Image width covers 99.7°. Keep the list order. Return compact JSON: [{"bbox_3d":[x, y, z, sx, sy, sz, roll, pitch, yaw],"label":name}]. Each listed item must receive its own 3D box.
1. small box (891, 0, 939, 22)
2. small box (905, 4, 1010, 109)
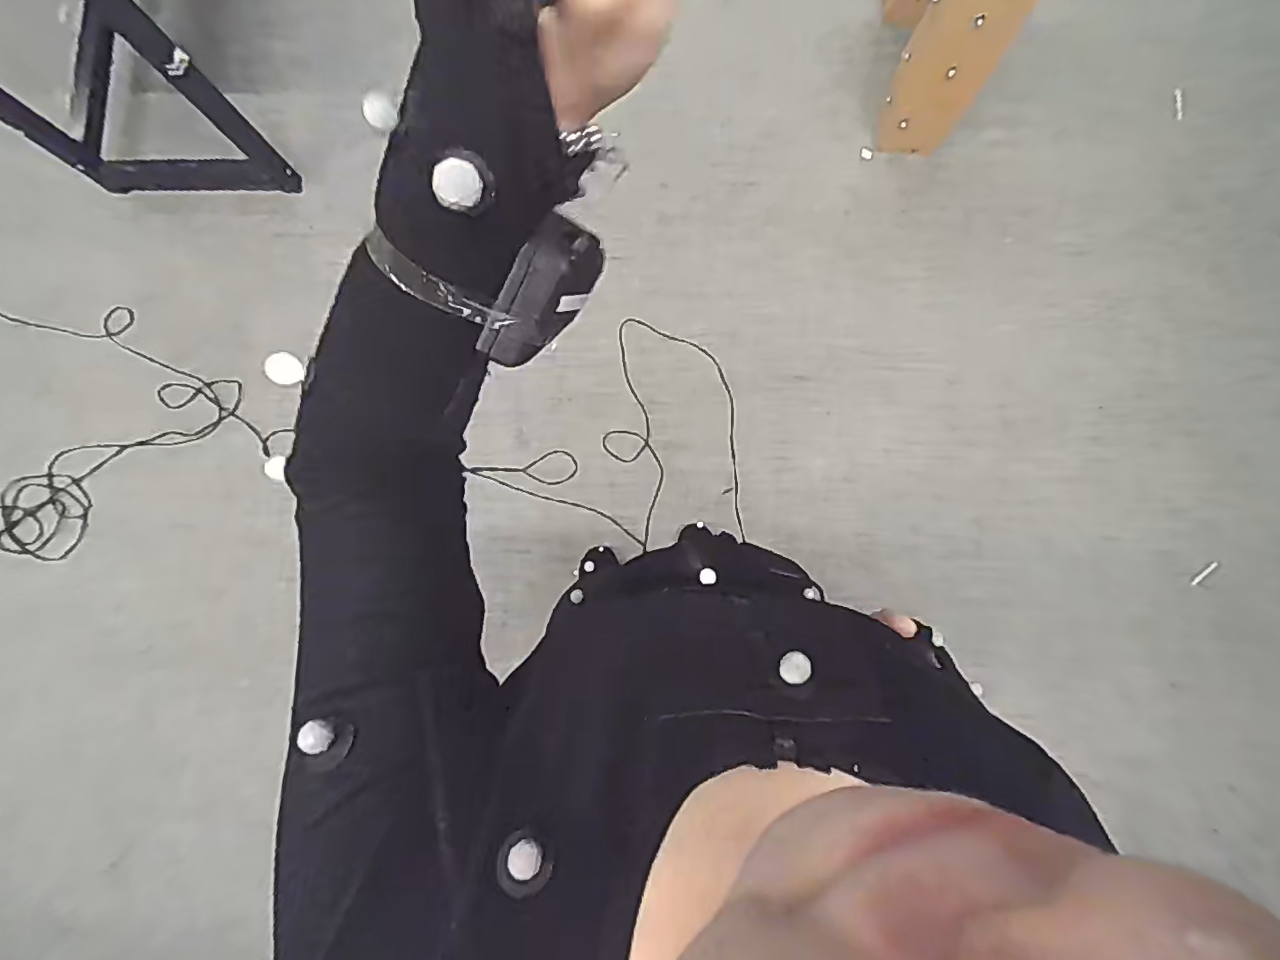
[{"bbox_3d":[0.856,-1.490,1.582,0.179,0.176,0.168,5,84,2],"label":"small box"},{"bbox_3d":[0.808,-1.089,1.379,0.179,0.176,0.168,9,84,3],"label":"small box"}]
